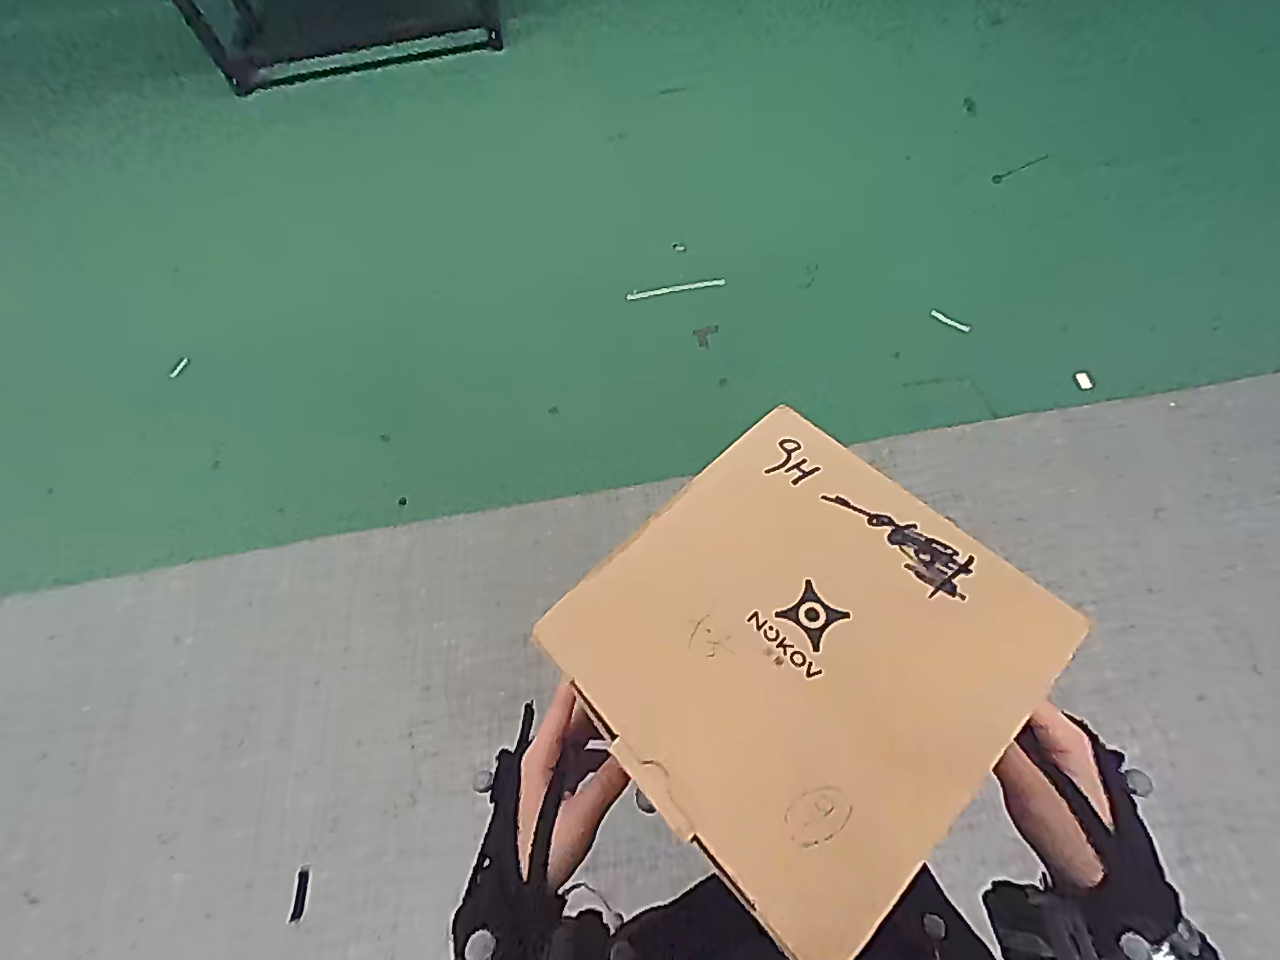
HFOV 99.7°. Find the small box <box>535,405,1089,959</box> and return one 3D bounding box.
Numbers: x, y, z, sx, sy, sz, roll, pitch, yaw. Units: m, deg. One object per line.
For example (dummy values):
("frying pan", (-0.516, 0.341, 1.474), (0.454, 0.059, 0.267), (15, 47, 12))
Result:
("small box", (0.077, 0.101, 0.301), (0.179, 0.176, 0.168), (-41, 64, -14))
